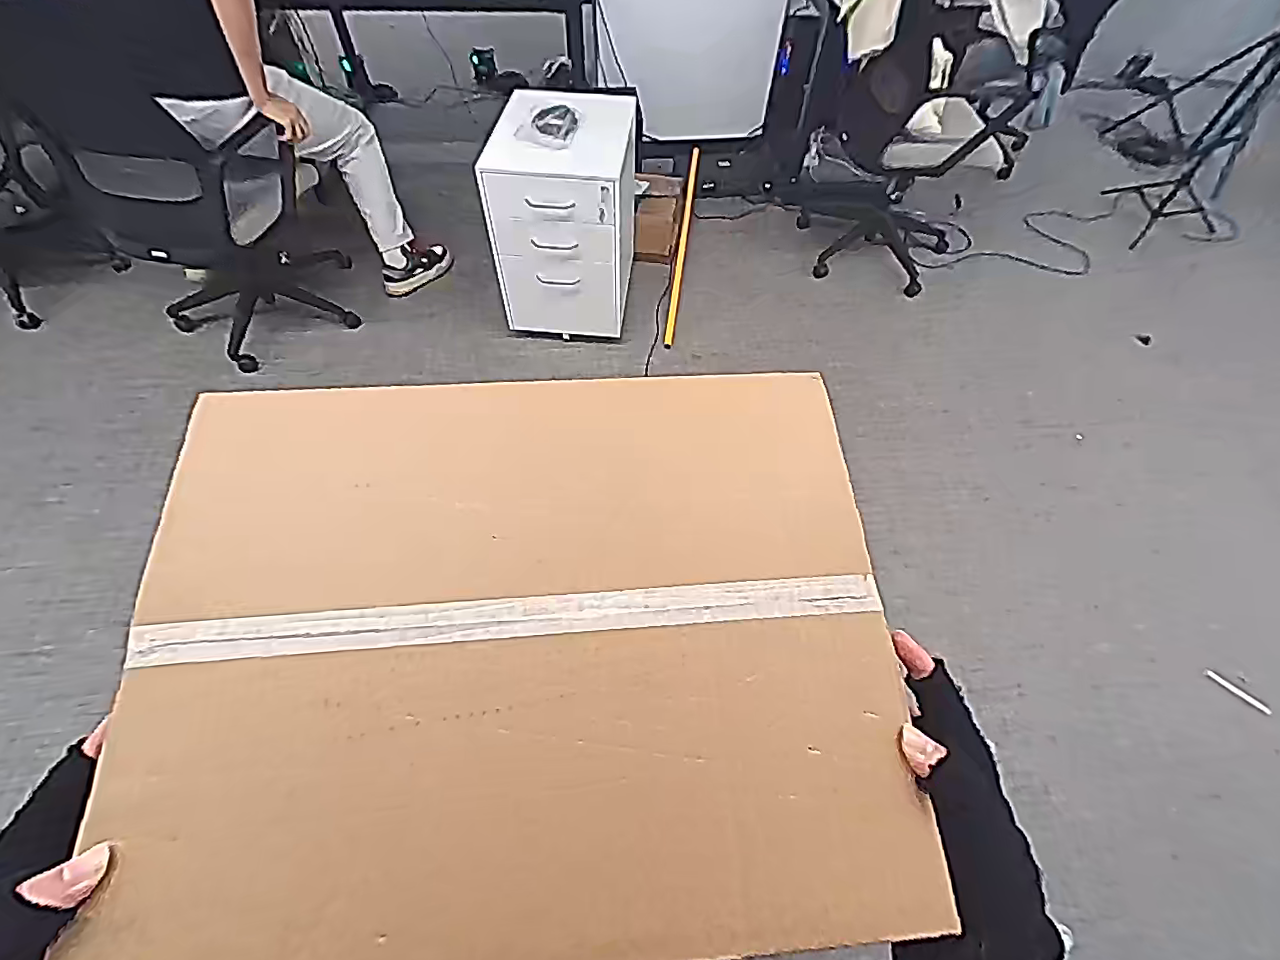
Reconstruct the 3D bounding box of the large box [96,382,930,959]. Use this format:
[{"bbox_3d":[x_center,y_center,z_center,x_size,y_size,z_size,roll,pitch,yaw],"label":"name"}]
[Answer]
[{"bbox_3d":[-0.070,0.141,0.451,0.408,0.320,0.320,-3,67,-5],"label":"large box"}]
